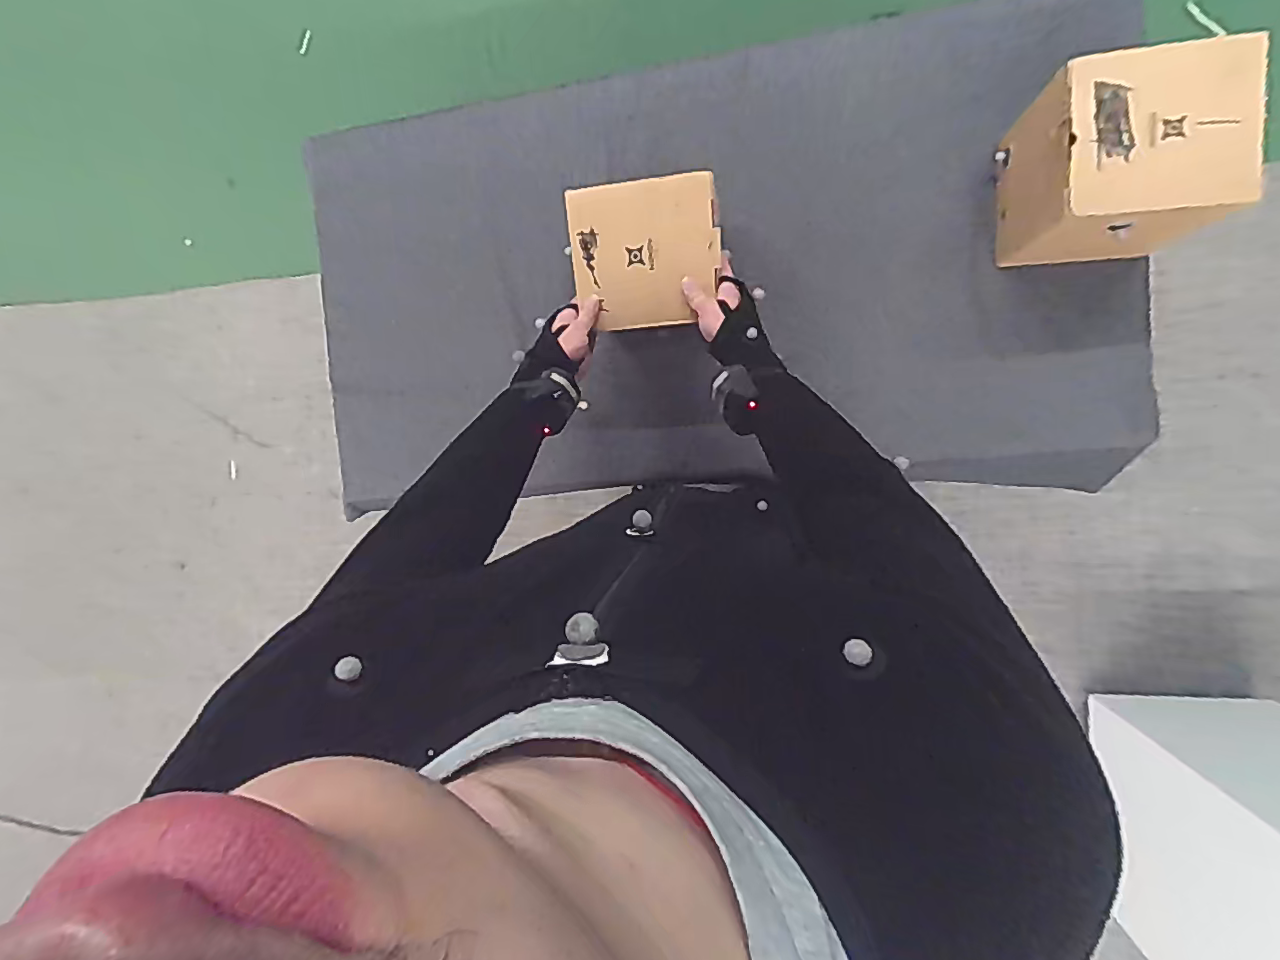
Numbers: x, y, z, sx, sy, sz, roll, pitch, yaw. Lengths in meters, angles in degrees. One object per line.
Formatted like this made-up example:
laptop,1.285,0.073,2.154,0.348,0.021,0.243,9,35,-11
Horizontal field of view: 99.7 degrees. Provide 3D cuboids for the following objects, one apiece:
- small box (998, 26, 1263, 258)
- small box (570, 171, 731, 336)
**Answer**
small box,0.552,-0.375,0.636,0.179,0.176,0.168,-2,94,8
small box,0.021,-0.282,0.702,0.179,0.176,0.168,-4,106,8
